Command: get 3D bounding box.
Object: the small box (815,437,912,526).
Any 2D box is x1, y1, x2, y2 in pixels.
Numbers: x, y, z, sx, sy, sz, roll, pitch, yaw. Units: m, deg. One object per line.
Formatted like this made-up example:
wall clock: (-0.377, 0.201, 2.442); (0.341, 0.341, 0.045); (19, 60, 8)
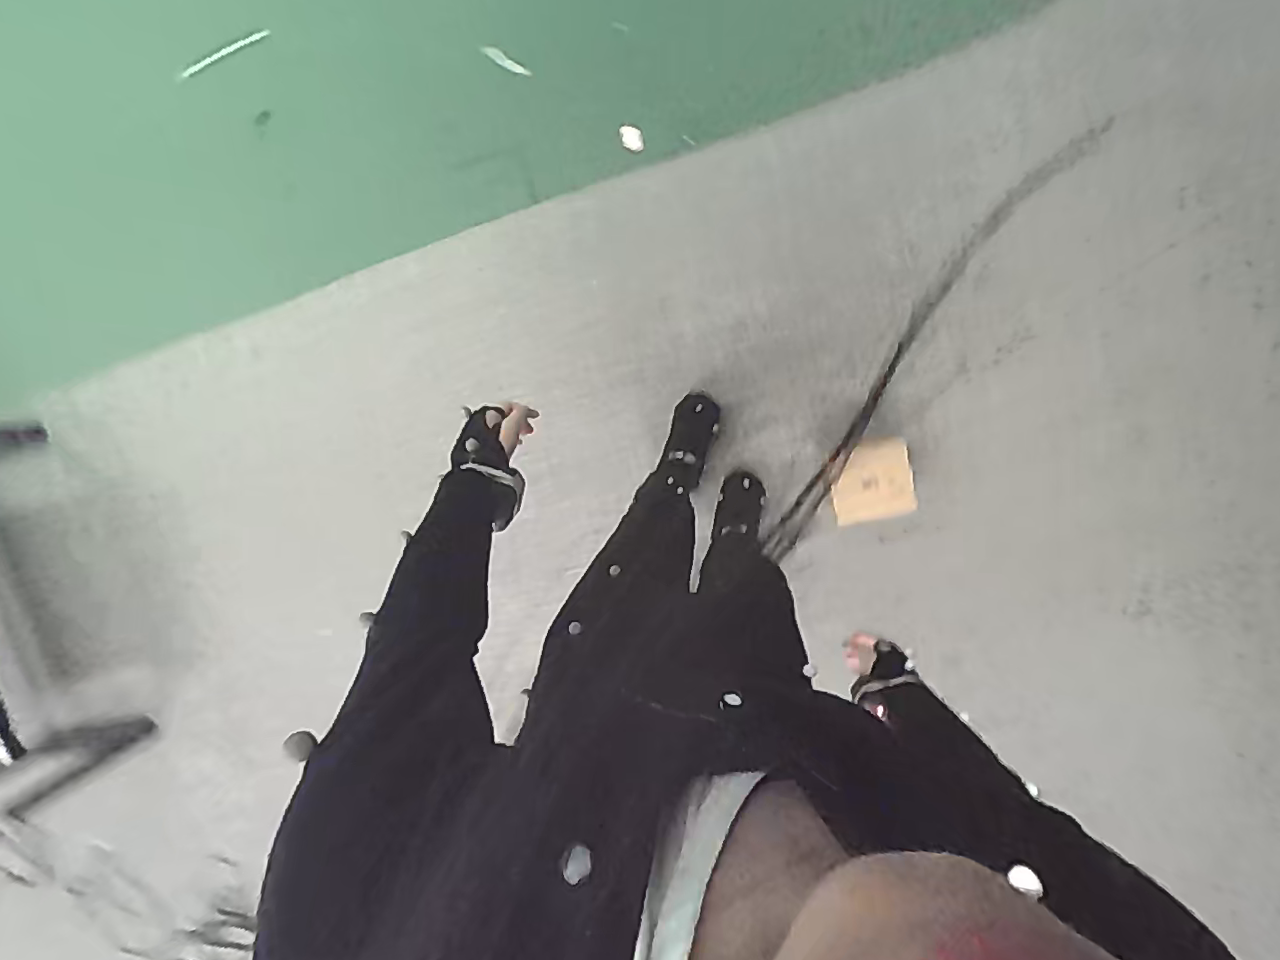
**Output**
small box: (0.520, -0.001, 1.284); (0.179, 0.176, 0.168); (-11, 98, 13)
